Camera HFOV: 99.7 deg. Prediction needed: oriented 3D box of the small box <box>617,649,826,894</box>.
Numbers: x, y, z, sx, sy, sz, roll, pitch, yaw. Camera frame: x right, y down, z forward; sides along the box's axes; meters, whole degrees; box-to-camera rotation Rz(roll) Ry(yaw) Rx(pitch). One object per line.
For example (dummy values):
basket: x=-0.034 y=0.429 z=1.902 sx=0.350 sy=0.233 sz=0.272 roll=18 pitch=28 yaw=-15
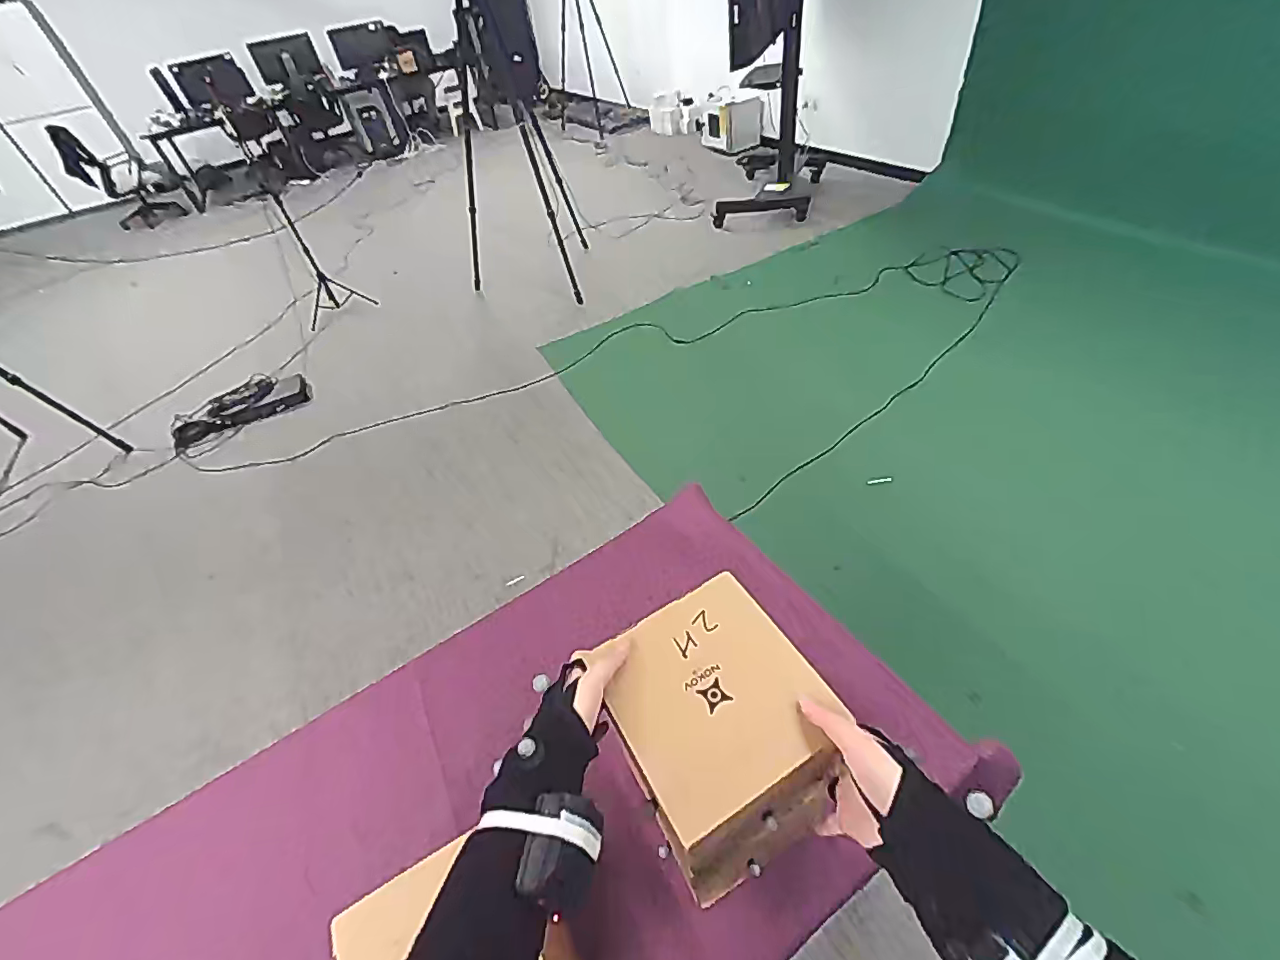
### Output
small box: x=0.091 y=0.345 z=0.642 sx=0.168 sy=0.176 sz=0.179 roll=-26 pitch=47 yaw=-14

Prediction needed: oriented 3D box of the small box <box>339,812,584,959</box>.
small box: x=-0.170 y=0.488 z=0.551 sx=0.179 sy=0.176 sz=0.168 roll=-26 pitch=47 yaw=-15
